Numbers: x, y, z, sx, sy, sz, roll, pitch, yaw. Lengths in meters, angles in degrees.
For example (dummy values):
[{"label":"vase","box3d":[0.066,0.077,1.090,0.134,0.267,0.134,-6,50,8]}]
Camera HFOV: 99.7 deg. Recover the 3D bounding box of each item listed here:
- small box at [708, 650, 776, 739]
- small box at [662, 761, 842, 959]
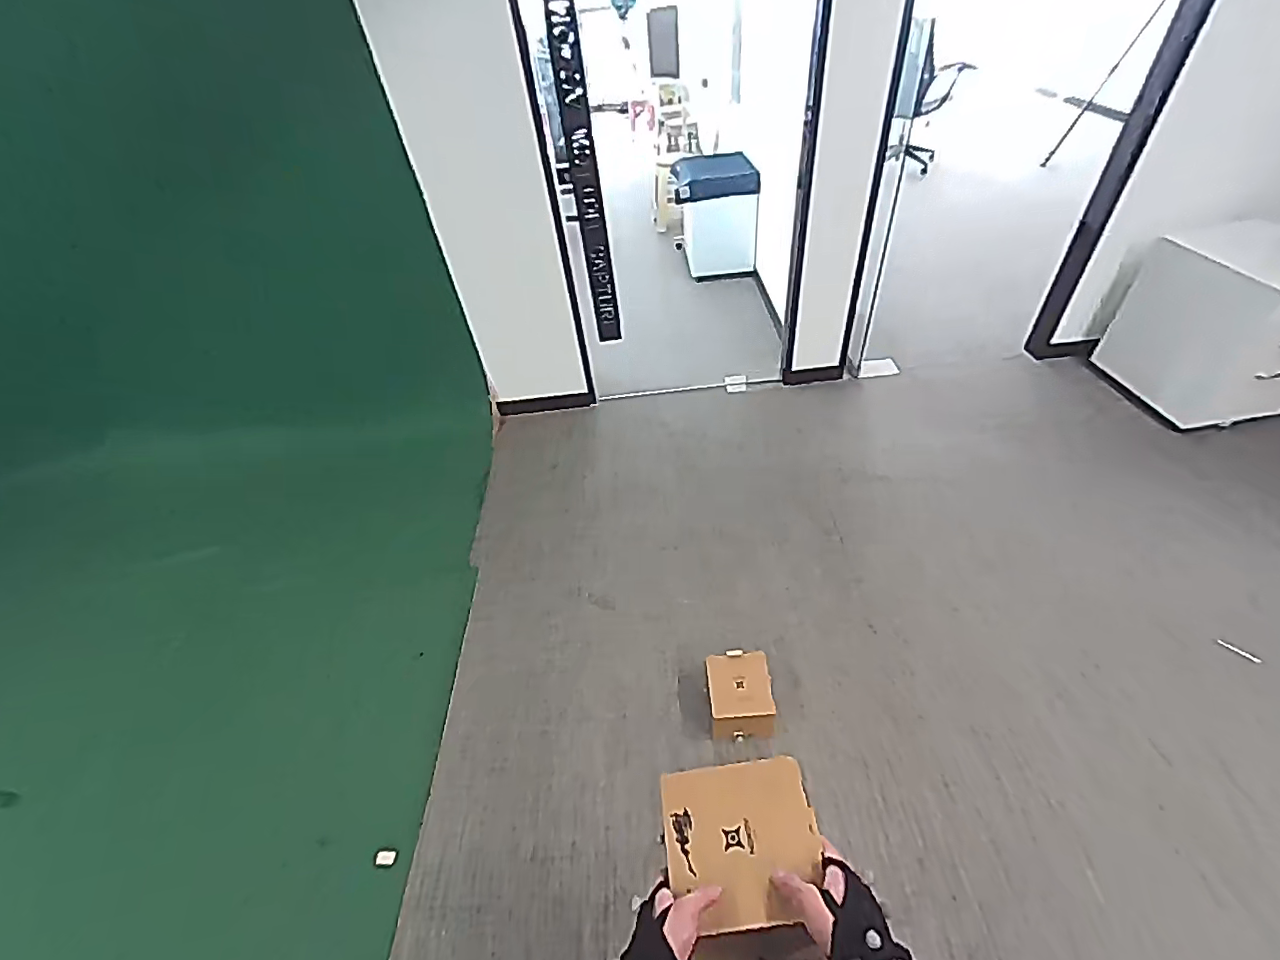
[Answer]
[{"label":"small box","box3d":[0.275,0.591,1.487,0.168,0.176,0.179,-5,44,6]},{"label":"small box","box3d":[0.127,0.475,0.665,0.179,0.176,0.168,-8,37,2]}]
